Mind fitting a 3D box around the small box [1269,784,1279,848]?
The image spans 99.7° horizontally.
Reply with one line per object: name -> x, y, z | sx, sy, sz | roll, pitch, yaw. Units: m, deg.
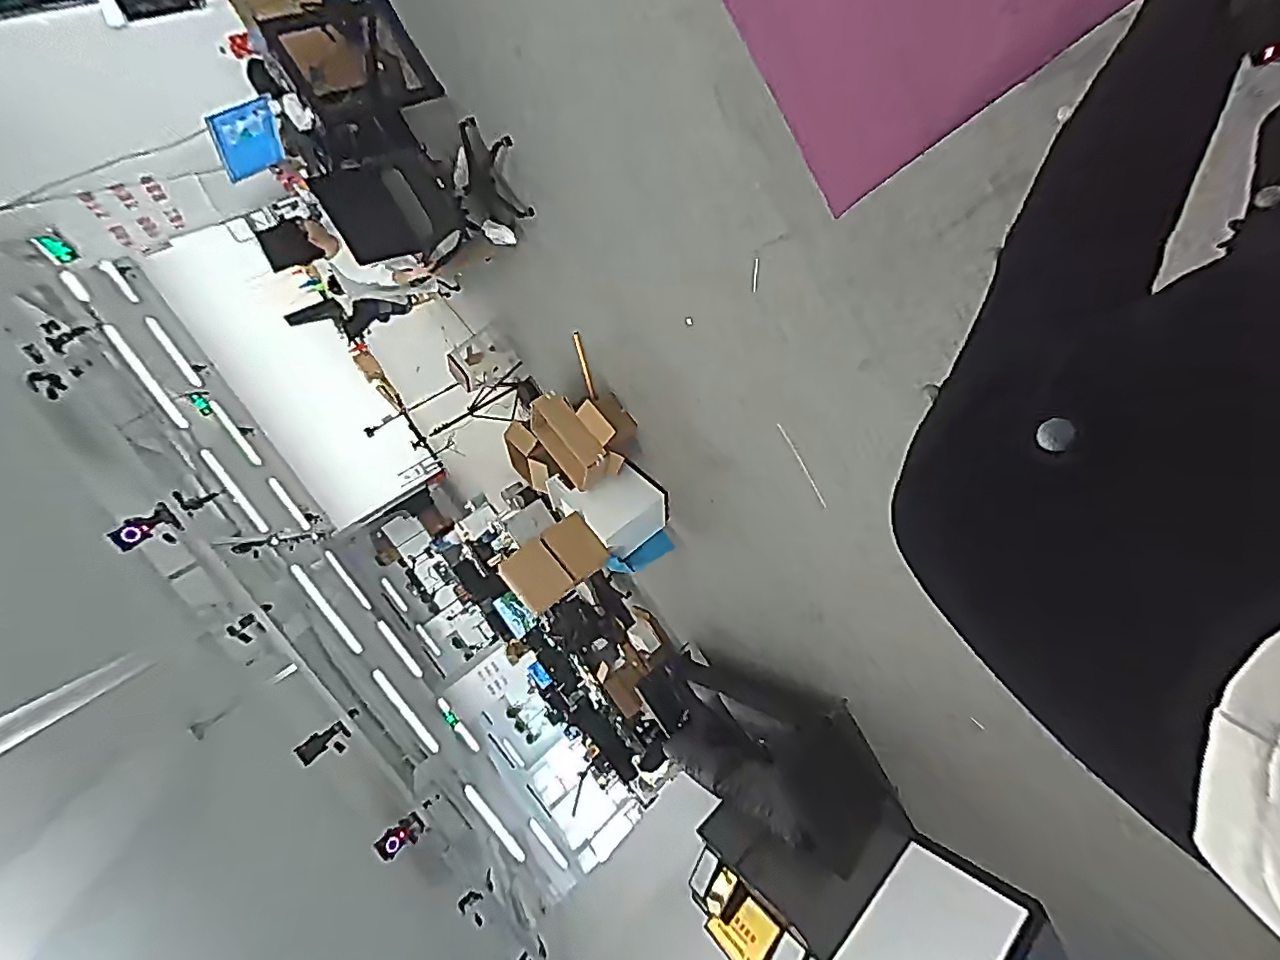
small box -> 1.780, 0.882, 1.393 | 0.179, 0.176, 0.168 | 8, 131, 59
